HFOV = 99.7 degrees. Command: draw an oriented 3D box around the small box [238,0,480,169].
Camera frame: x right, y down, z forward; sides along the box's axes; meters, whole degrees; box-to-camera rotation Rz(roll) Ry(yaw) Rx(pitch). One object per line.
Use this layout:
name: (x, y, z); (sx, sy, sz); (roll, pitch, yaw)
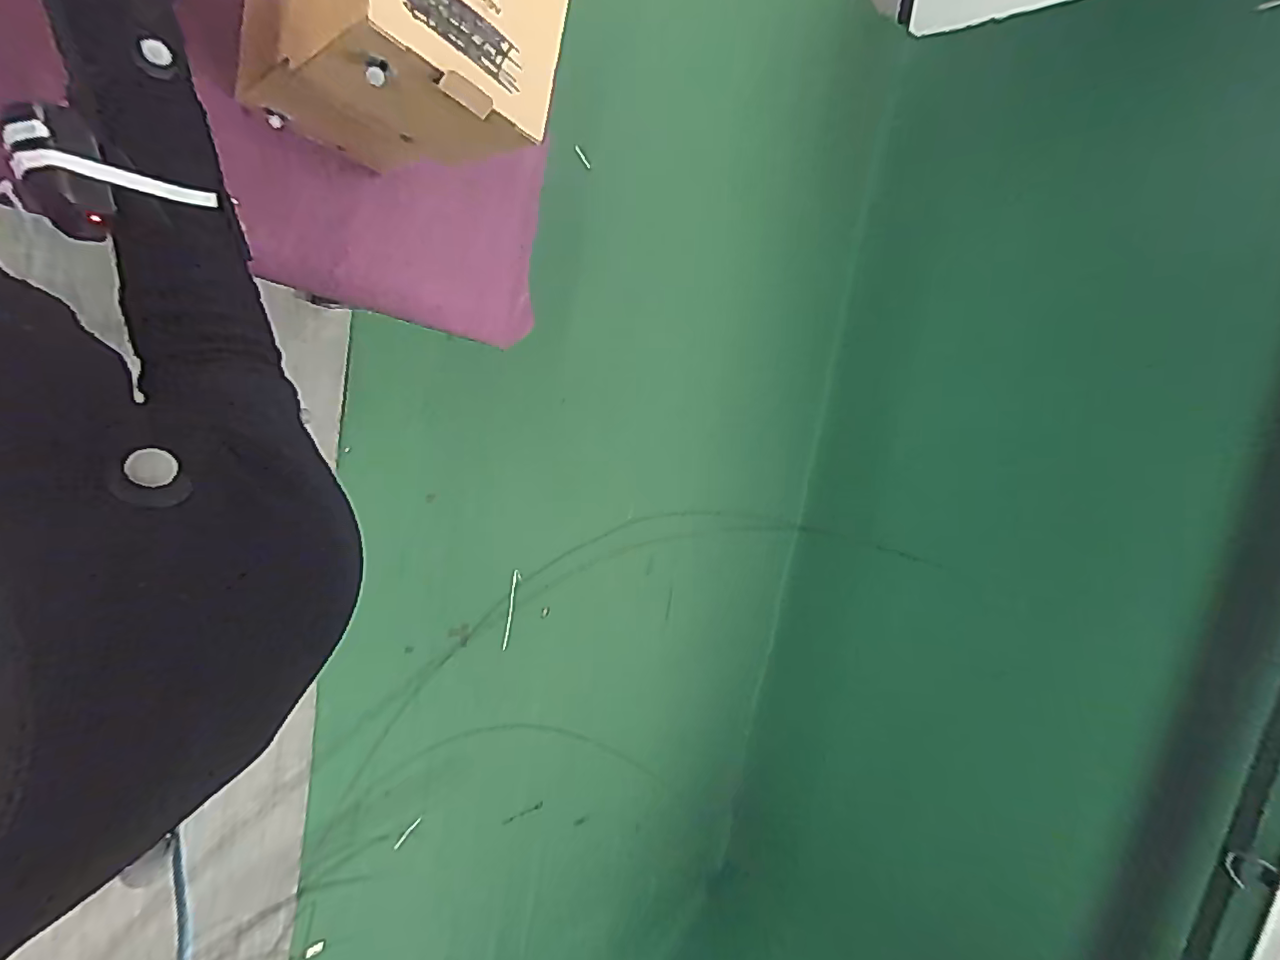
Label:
small box: (-0.308, -0.470, 0.590); (0.168, 0.176, 0.179); (8, 97, -54)
